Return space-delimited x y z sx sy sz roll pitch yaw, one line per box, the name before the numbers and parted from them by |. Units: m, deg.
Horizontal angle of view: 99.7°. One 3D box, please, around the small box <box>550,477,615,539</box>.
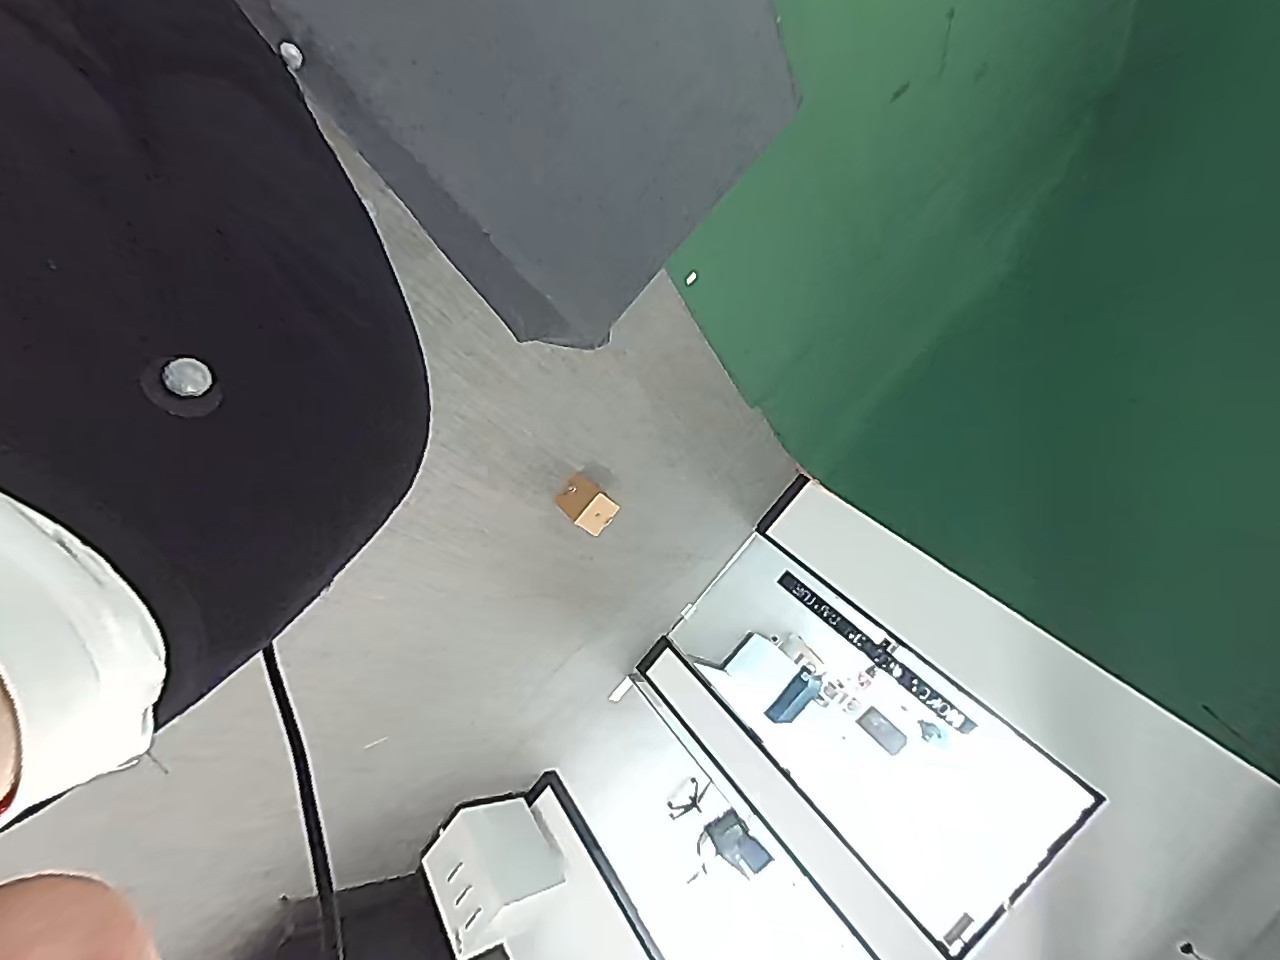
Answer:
small box | -0.243 0.115 2.276 0.168 0.176 0.179 -50 143 -3
